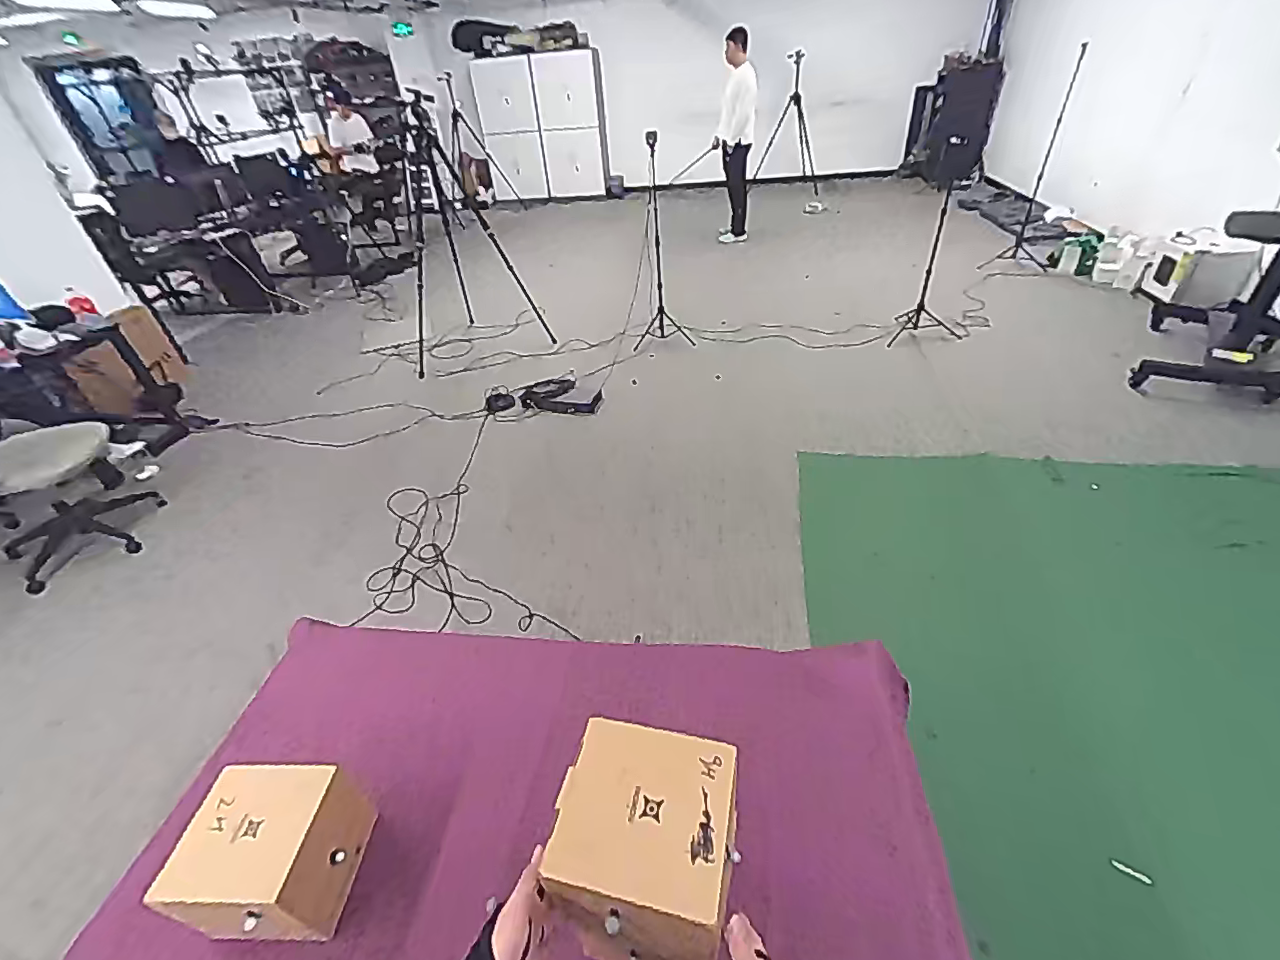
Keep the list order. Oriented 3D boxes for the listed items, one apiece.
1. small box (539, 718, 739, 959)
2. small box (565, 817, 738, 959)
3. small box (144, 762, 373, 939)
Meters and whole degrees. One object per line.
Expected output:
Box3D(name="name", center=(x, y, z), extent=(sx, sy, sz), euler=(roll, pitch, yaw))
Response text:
Box3D(name="small box", center=(0.012, 0.400, 0.604), extent=(0.179, 0.176, 0.168), euler=(5, 39, 15))
Box3D(name="small box", center=(0.024, 0.529, 0.705), extent=(0.179, 0.176, 0.168), euler=(8, 40, 17))
Box3D(name="small box", center=(-0.517, 0.526, 0.770), extent=(0.179, 0.176, 0.168), euler=(-2, 37, 5))
